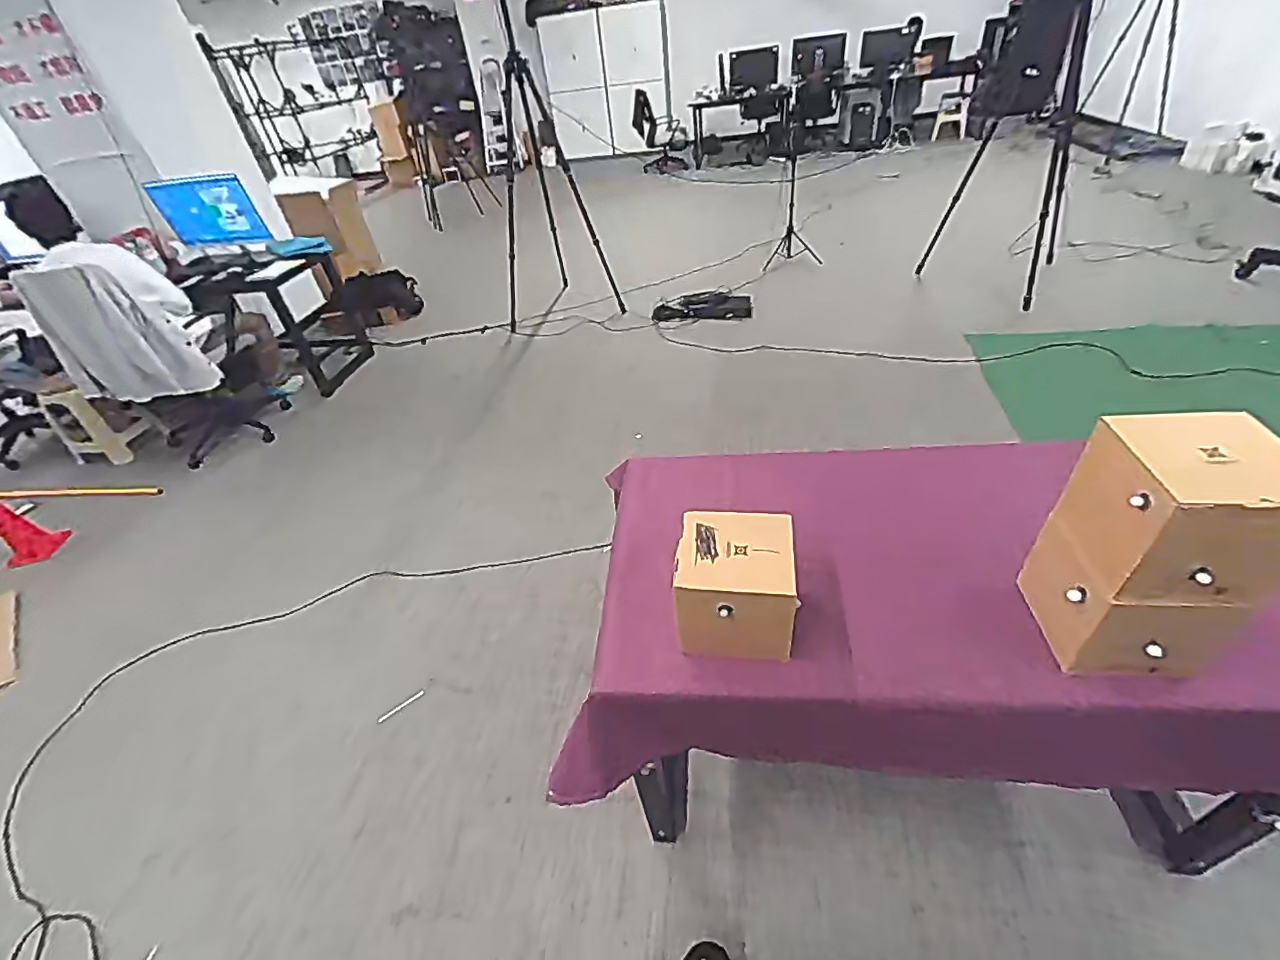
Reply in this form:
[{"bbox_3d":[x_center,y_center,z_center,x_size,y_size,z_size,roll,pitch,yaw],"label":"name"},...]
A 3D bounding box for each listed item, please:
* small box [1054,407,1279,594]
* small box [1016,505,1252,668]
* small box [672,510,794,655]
[{"bbox_3d":[0.678,0.025,0.689,0.168,0.176,0.179,-1,41,9],"label":"small box"},{"bbox_3d":[0.692,0.154,0.788,0.168,0.176,0.179,-1,40,9],"label":"small box"},{"bbox_3d":[0.152,0.166,0.878,0.179,0.176,0.168,1,40,11],"label":"small box"}]
